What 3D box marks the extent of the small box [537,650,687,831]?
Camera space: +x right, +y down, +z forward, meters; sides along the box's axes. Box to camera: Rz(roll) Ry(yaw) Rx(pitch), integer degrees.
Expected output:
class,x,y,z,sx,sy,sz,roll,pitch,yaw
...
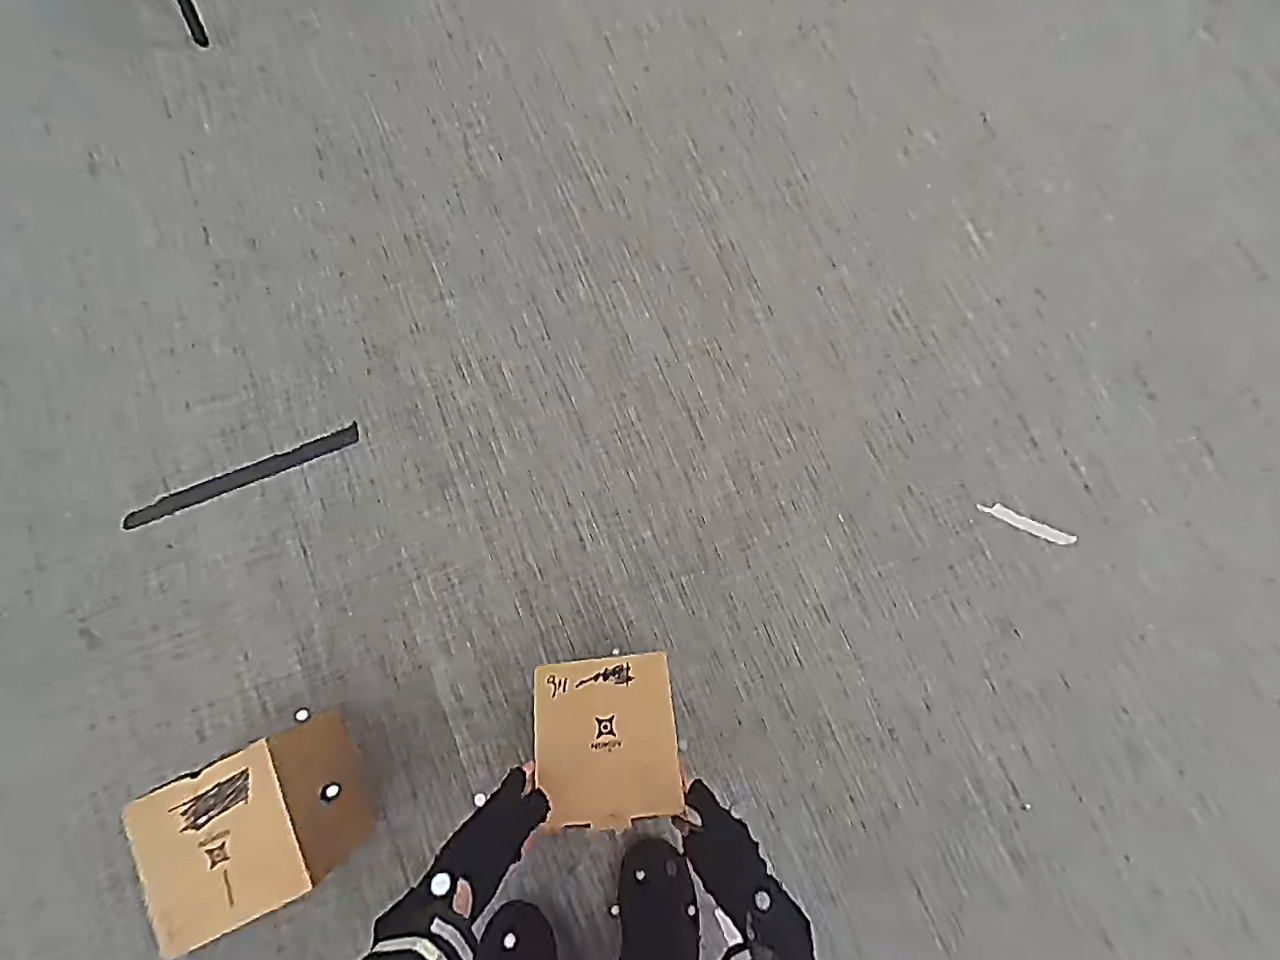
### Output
class,x,y,z,sx,sy,sz,roll,pitch,yaw
small box,-0.032,0.326,0.687,0.168,0.176,0.179,-6,62,-1

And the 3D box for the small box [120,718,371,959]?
class,x,y,z,sx,sy,sz,roll,pitch,yaw
small box,-0.470,0.419,0.671,0.168,0.176,0.179,-23,82,-7
